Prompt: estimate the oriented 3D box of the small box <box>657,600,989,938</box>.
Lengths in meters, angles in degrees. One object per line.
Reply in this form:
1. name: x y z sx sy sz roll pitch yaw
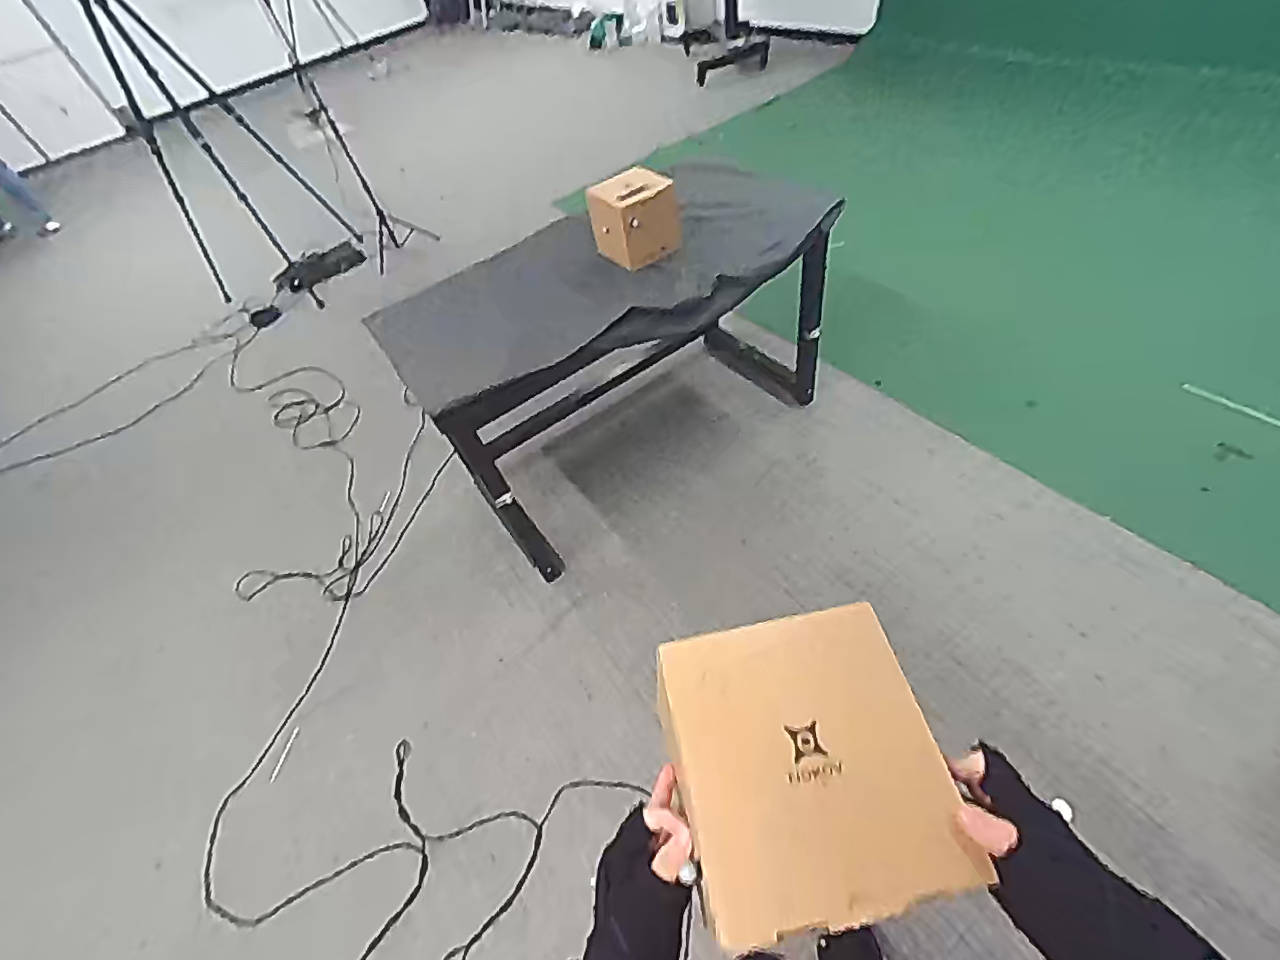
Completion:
1. small box: 0.108 0.219 0.417 0.168 0.176 0.179 -11 54 -5
